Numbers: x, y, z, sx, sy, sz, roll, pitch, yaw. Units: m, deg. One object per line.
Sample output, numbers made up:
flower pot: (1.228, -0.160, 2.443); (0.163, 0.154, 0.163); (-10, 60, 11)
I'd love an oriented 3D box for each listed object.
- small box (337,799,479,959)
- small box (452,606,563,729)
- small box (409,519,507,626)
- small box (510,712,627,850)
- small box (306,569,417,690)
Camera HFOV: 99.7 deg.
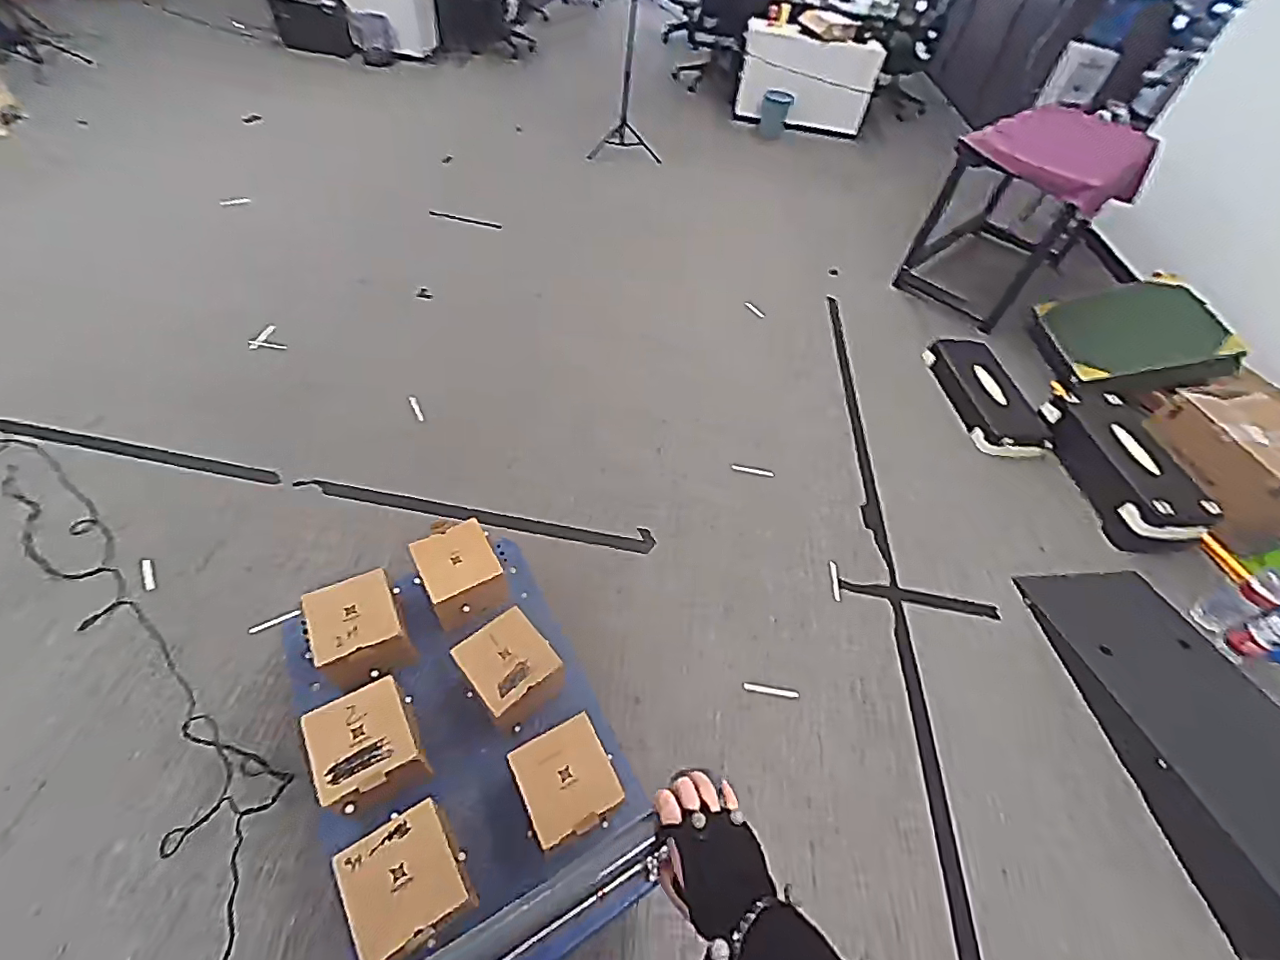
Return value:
small box: (-0.394, 0.697, 0.941); (0.168, 0.176, 0.179); (-24, 59, -26)
small box: (-0.283, 0.418, 1.185); (0.168, 0.176, 0.179); (-32, 61, -30)
small box: (-0.435, 0.232, 1.315); (0.168, 0.176, 0.179); (-24, 58, -25)
small box: (-0.142, 0.597, 1.064); (0.168, 0.176, 0.179); (-20, 56, -24)
small box: (-0.615, 0.334, 1.203); (0.168, 0.176, 0.179); (-20, 57, -22)
